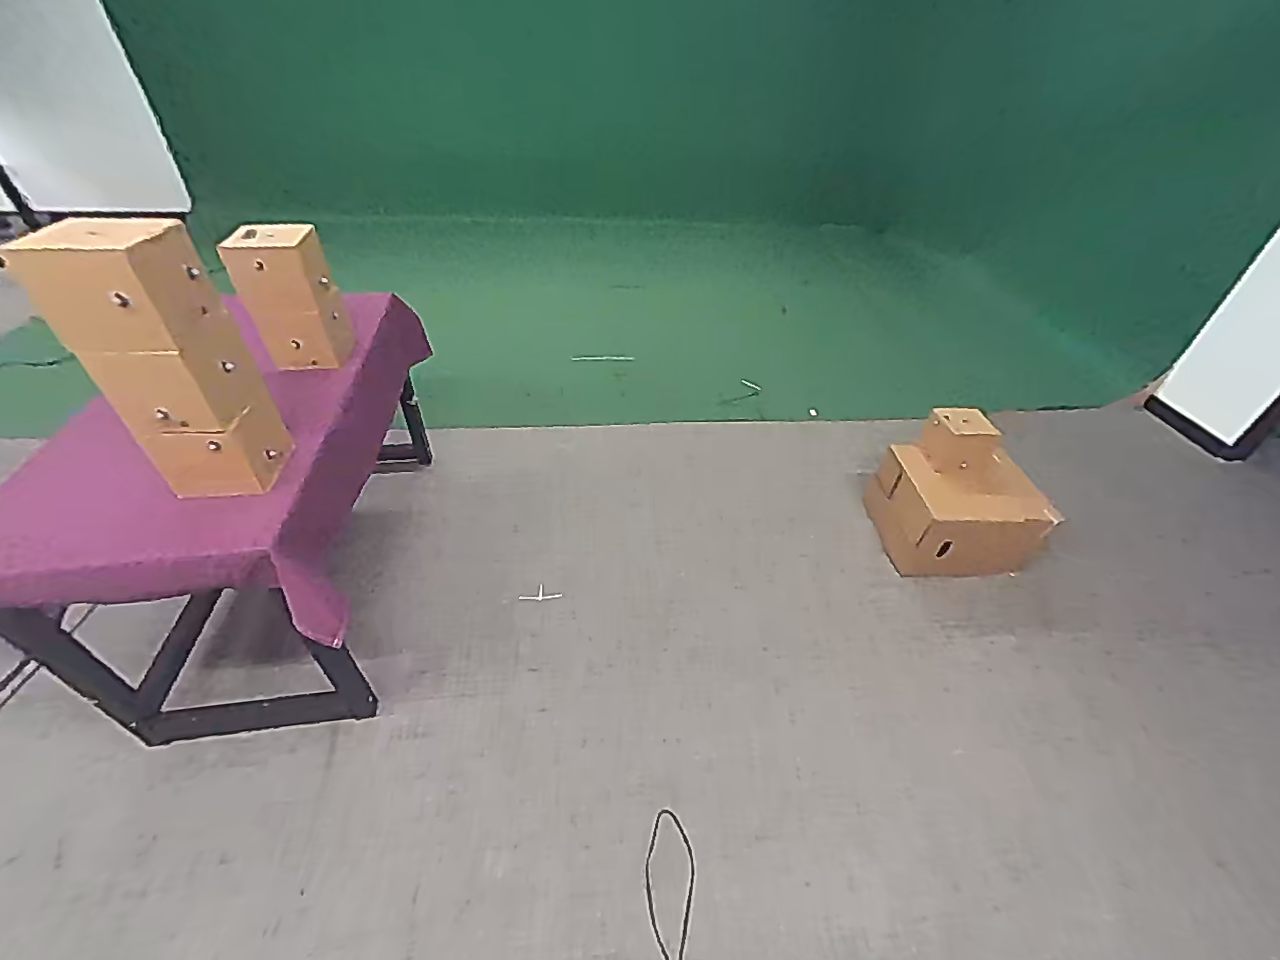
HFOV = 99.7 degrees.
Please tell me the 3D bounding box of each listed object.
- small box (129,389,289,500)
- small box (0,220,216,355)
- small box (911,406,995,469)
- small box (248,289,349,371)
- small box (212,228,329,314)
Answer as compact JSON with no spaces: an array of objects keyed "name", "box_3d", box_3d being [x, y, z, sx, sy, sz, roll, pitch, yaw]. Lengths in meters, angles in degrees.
[{"name":"small box","box_3d":[-0.876,-0.072,1.121,0.179,0.176,0.168,-3,41,-7]},{"name":"small box","box_3d":[-0.870,-0.321,0.908,0.179,0.176,0.168,-3,41,-6]},{"name":"small box","box_3d":[1.126,-0.152,1.960,0.179,0.176,0.168,1,40,-5]},{"name":"small box","box_3d":[-0.939,-0.416,1.508,0.168,0.176,0.179,-3,42,-7]},{"name":"small box","box_3d":[-0.942,-0.539,1.398,0.179,0.176,0.168,-4,42,-9]}]
